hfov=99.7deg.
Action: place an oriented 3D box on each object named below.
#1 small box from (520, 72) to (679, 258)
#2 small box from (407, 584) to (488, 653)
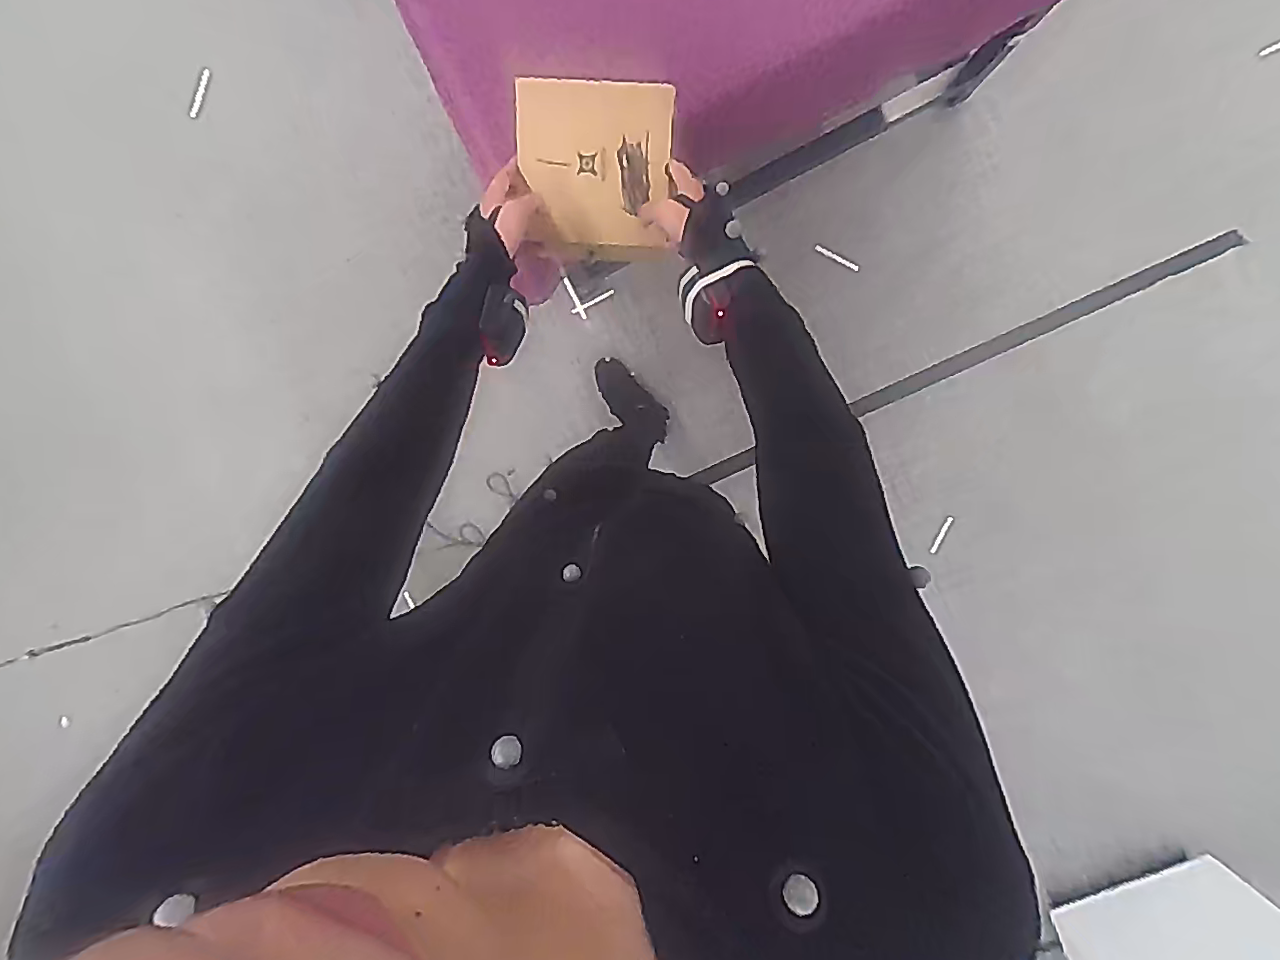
[{"bbox_3d":[-0.049,-0.380,0.684,0.179,0.176,0.168,2,106,-1],"label":"small box"},{"bbox_3d":[-0.580,0.433,1.599,0.179,0.176,0.168,-24,96,4],"label":"small box"}]
